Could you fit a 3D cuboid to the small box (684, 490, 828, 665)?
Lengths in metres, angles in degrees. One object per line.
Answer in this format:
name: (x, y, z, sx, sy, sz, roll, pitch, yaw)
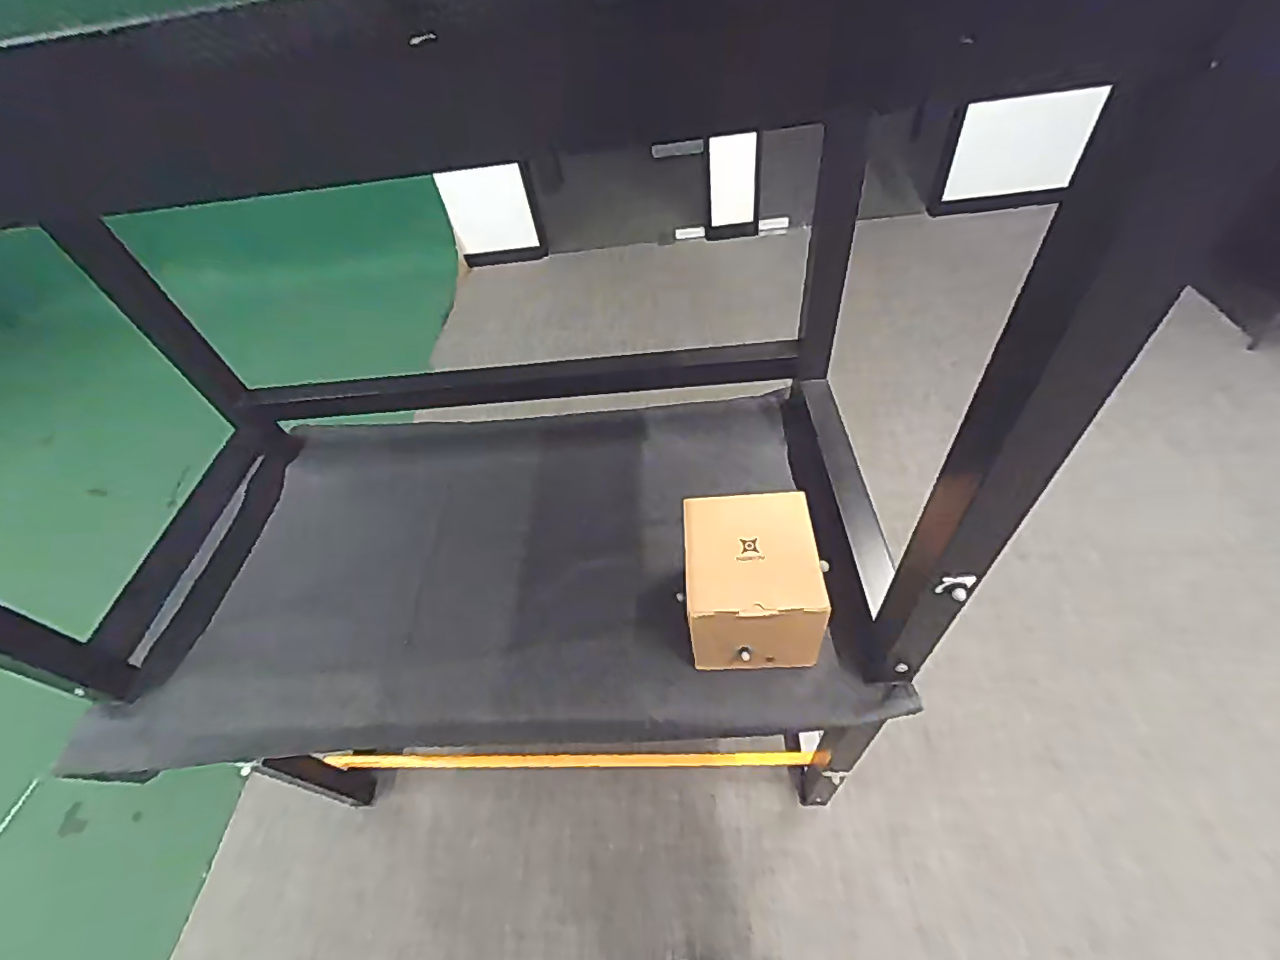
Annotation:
small box: (0.147, 0.135, 0.739, 0.168, 0.176, 0.179, -4, 49, 7)
